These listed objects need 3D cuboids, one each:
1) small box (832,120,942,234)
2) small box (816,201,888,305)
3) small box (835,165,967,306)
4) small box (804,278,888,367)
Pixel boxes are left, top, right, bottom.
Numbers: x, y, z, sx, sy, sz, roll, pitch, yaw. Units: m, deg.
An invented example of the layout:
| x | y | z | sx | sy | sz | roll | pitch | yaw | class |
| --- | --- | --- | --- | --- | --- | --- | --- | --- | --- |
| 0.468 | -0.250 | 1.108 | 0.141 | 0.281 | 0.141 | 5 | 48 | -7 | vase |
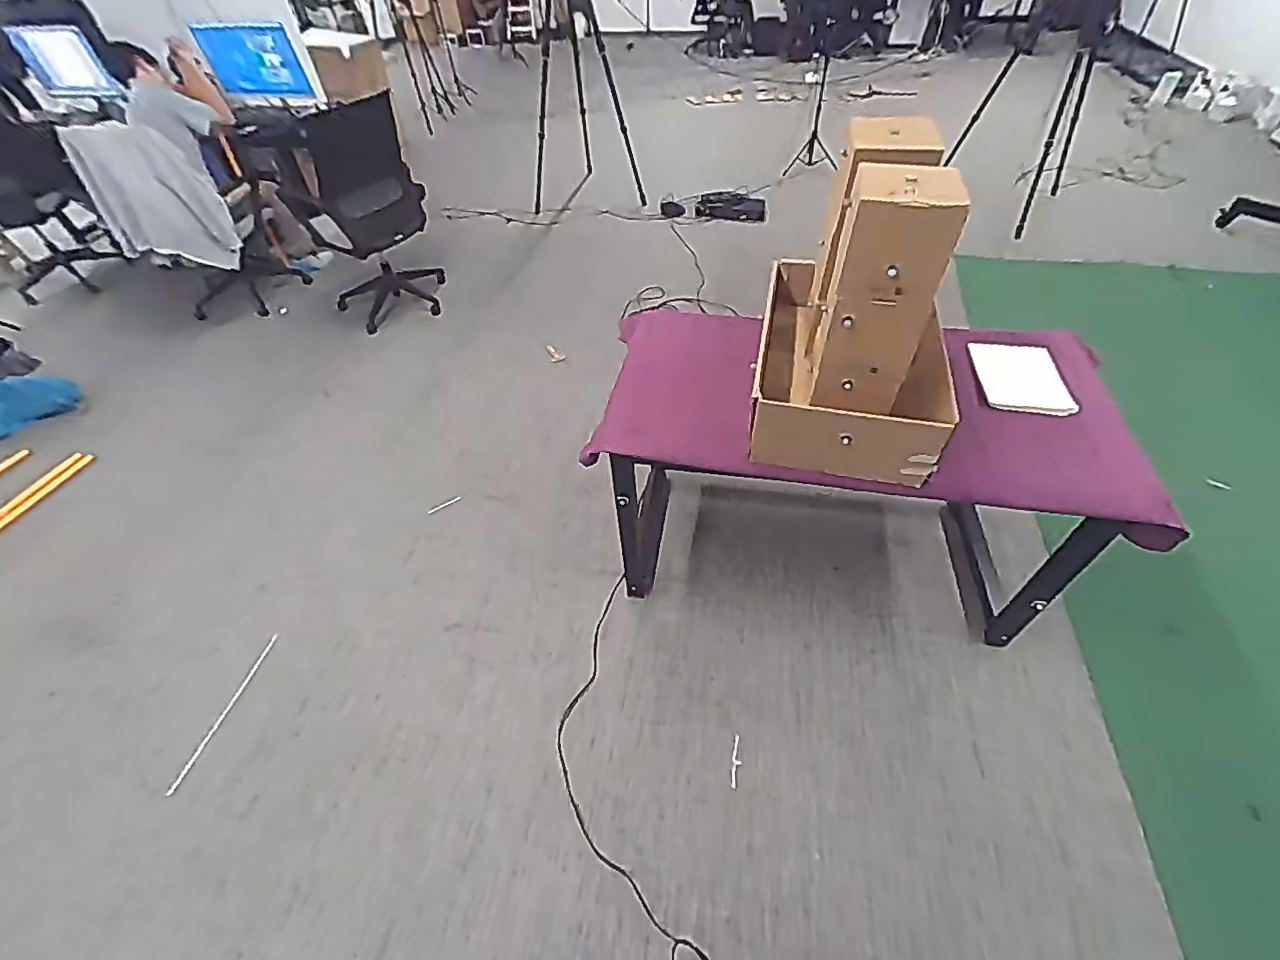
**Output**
| x | y | z | sx | sy | sz | roll | pitch | yaw | class |
| --- | --- | --- | --- | --- | --- | --- | --- | --- | --- |
| 0.507 | -0.634 | 1.140 | 0.168 | 0.176 | 0.179 | 6 | 51 | 9 | small box |
| 0.513 | -0.529 | 1.264 | 0.168 | 0.176 | 0.179 | 7 | 50 | 8 | small box |
| 0.450 | -0.435 | 0.960 | 0.168 | 0.176 | 0.179 | 10 | 49 | 12 | small box |
| 0.518 | -0.416 | 1.384 | 0.168 | 0.176 | 0.179 | 7 | 51 | 9 | small box |
